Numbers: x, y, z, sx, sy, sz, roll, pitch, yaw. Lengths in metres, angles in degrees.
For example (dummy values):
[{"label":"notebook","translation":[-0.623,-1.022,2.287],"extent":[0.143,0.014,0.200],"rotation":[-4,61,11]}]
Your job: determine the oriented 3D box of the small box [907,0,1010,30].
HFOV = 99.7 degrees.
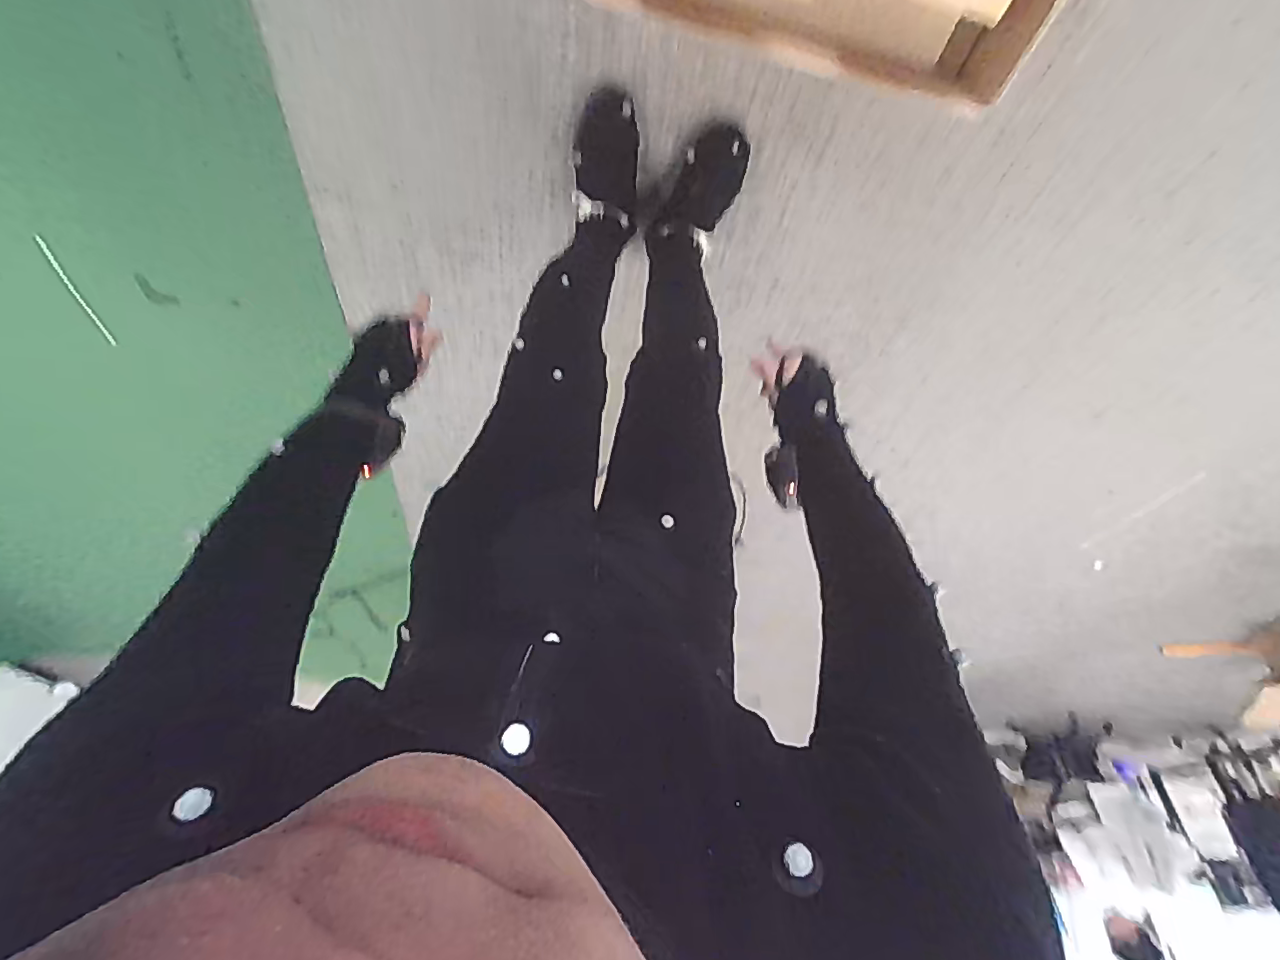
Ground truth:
[{"label":"small box","translation":[0.395,-0.702,0.657],"extent":[0.168,0.176,0.179],"rotation":[11,142,-9]}]
